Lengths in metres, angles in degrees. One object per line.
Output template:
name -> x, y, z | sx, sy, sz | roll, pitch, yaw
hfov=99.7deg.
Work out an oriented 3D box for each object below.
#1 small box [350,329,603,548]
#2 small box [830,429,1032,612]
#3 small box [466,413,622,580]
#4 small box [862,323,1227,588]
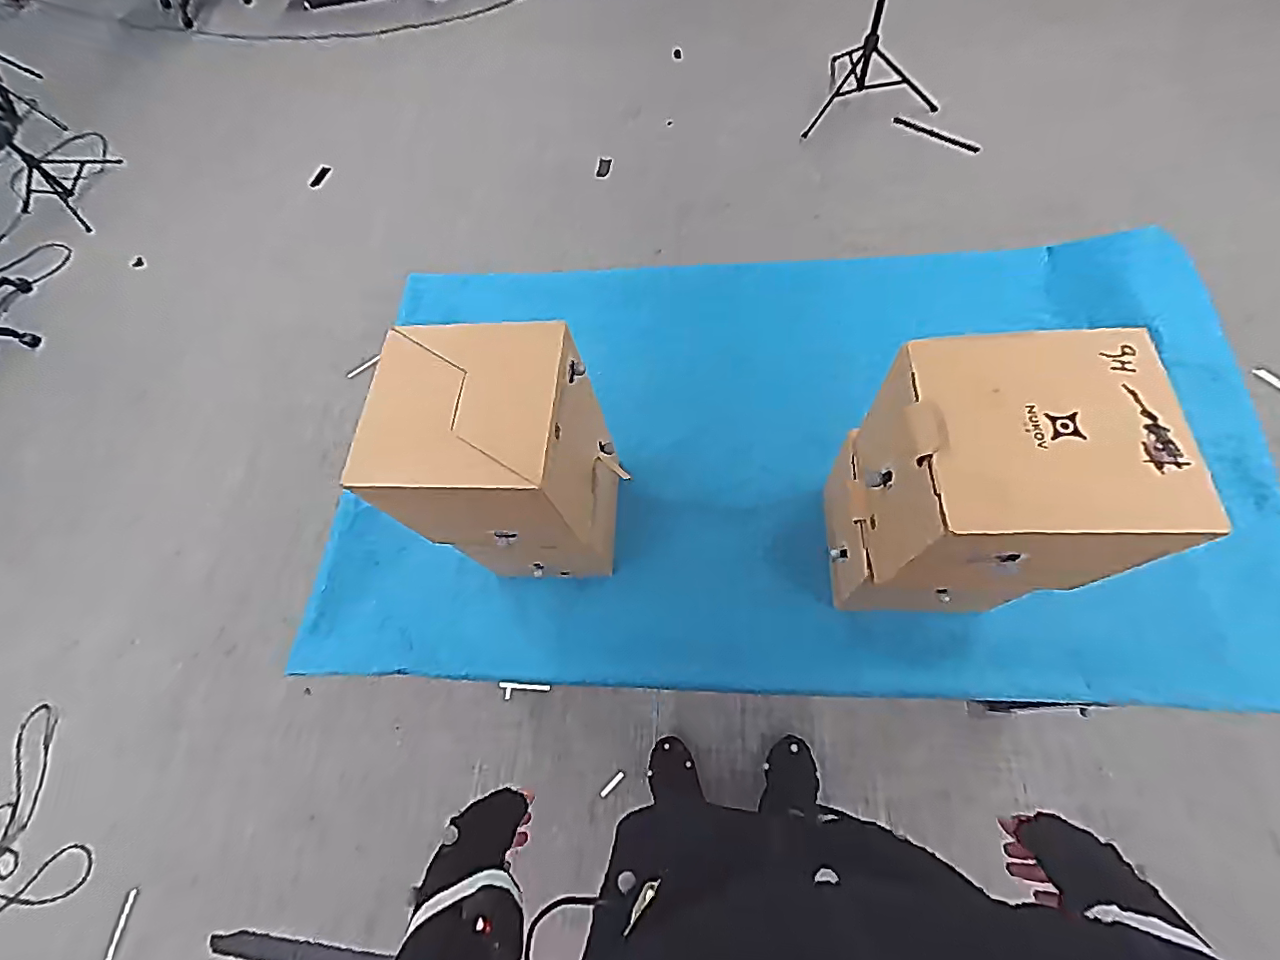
small box -> -0.144, -0.034, 0.540 | 0.179, 0.176, 0.168 | 1, 67, 9
small box -> 0.318, 0.051, 0.611 | 0.179, 0.176, 0.168 | -1, 67, 9
small box -> -0.122, 0.021, 0.697 | 0.168, 0.176, 0.179 | 1, 69, 11
small box -> 0.301, -0.007, 0.460 | 0.179, 0.176, 0.168 | -4, 66, 7
